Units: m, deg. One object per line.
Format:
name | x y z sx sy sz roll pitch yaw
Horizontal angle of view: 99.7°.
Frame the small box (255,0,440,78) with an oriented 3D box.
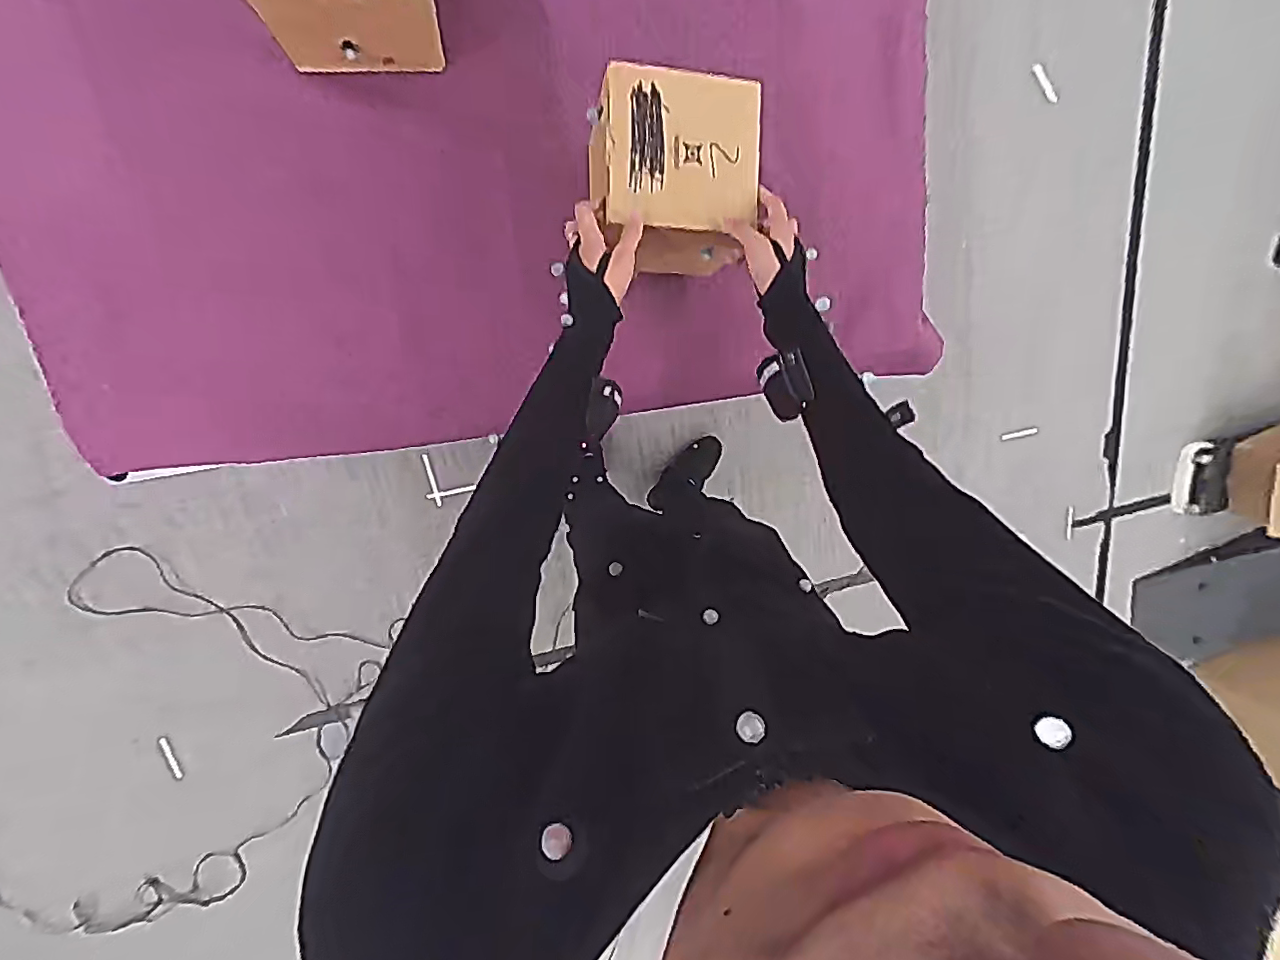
small box | -0.310 -0.549 0.551 0.168 0.176 0.179 -10 107 -12
